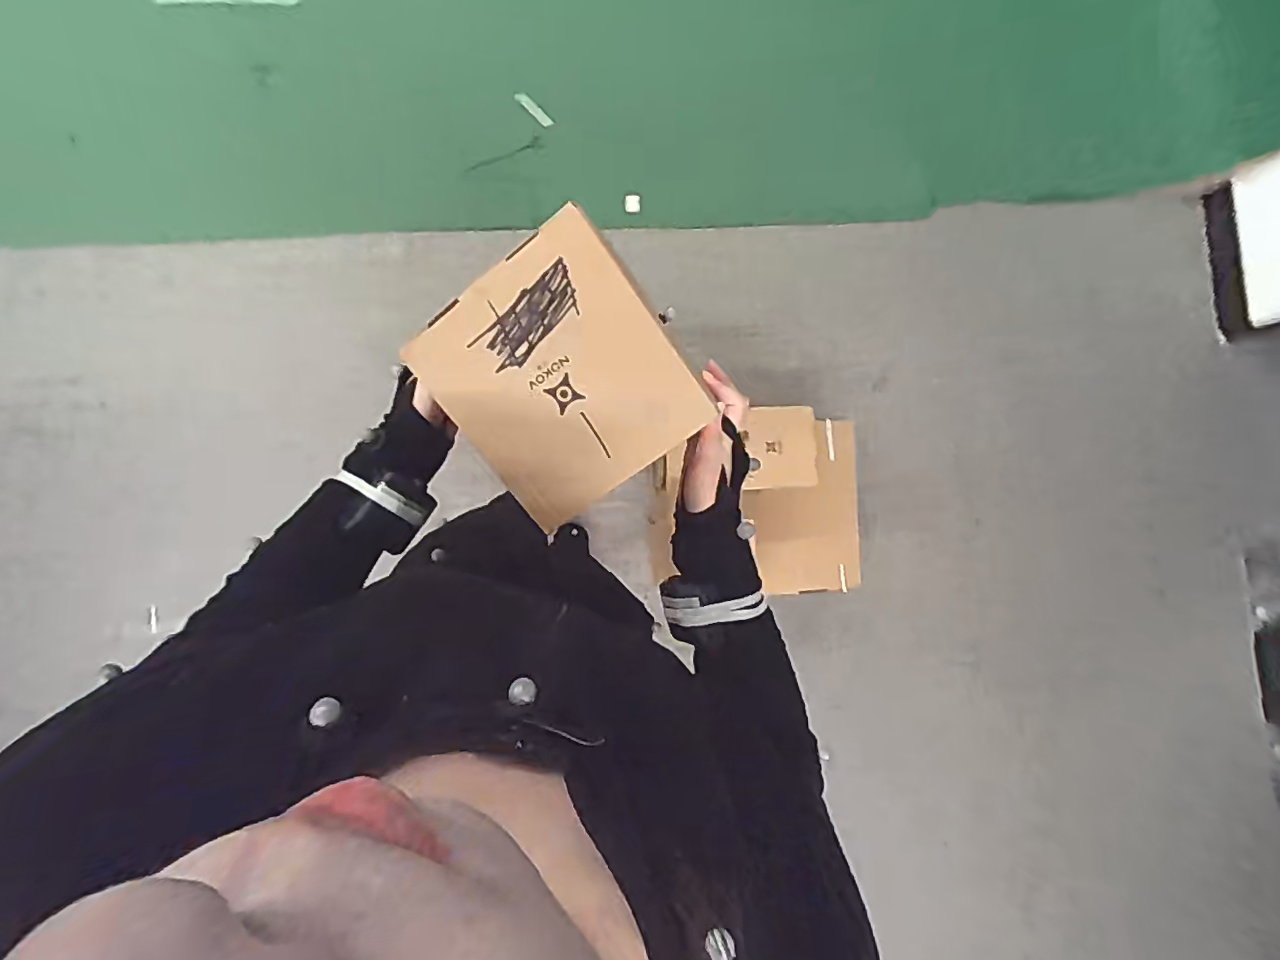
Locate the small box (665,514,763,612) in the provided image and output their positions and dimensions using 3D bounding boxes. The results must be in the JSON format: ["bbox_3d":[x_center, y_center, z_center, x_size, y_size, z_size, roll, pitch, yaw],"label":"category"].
[{"bbox_3d":[0.149,0.166,1.136,0.168,0.176,0.179,-4,89,-7],"label":"small box"}]

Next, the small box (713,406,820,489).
[{"bbox_3d":[0.264,-0.065,1.157,0.179,0.176,0.168,-2,88,-8],"label":"small box"}]
